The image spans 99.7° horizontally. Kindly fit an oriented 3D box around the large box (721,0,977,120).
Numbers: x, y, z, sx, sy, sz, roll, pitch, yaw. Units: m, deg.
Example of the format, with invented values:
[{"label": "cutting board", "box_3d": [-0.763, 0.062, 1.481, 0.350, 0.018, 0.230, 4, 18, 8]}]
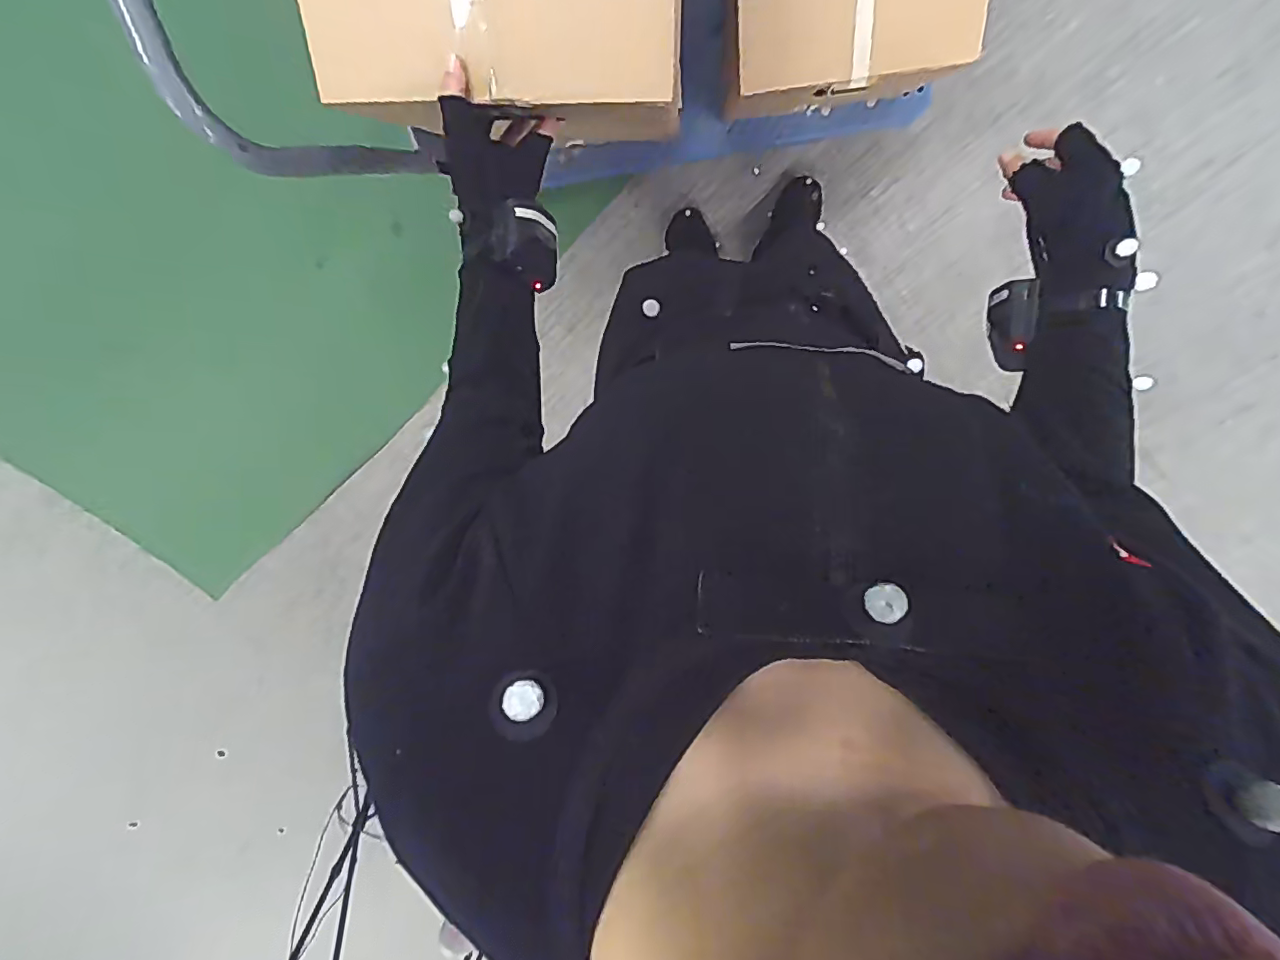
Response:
[{"label": "large box", "box_3d": [0.271, -0.787, 0.768, 0.320, 0.320, 0.408, -3, 118, 7]}]
